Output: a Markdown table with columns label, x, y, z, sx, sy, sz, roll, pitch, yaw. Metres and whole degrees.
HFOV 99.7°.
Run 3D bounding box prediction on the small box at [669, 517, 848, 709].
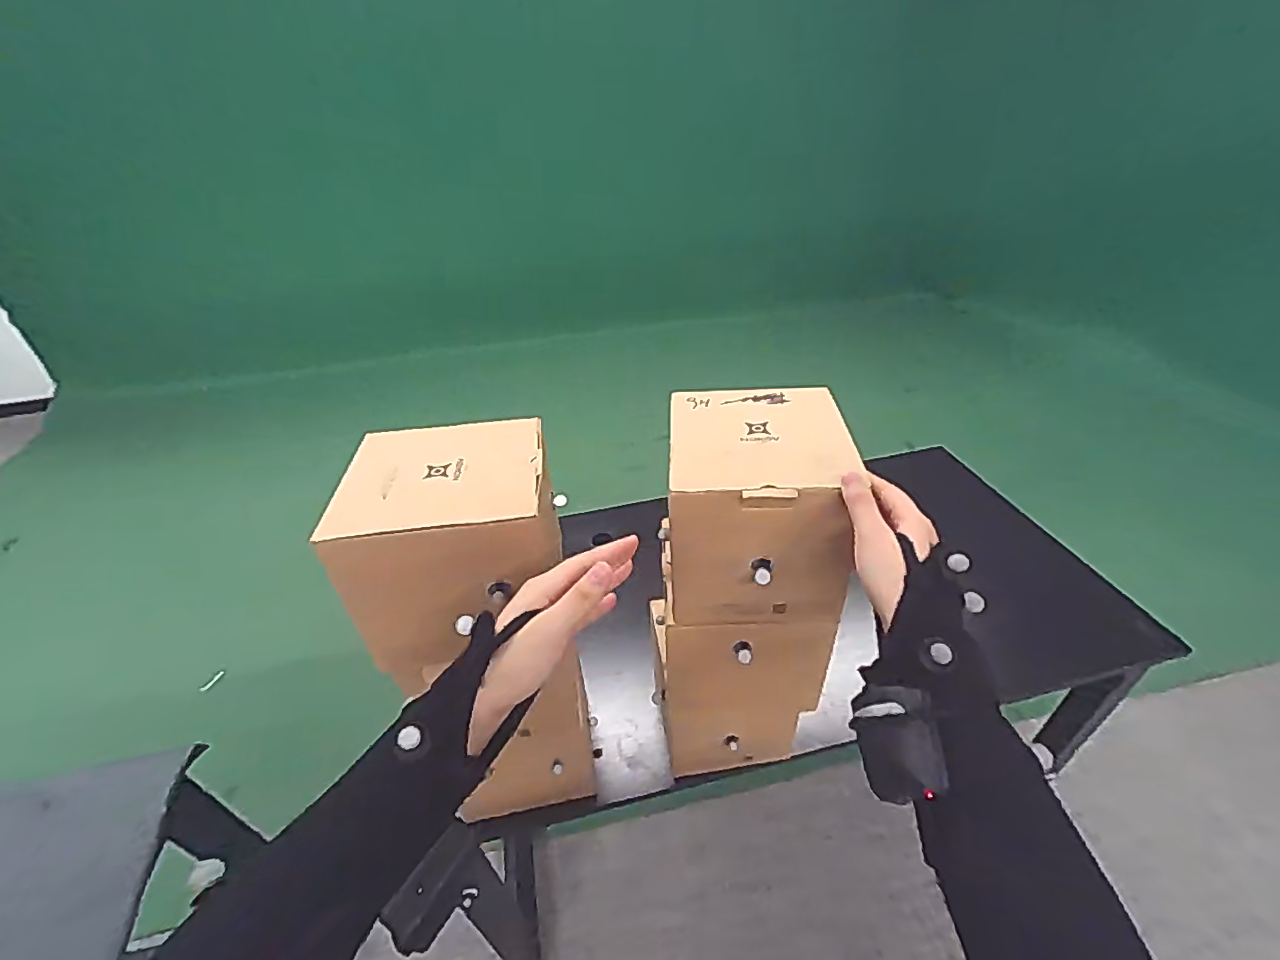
| label | x | y | z | sx | sy | sz | roll | pitch | yaw |
| --- | --- | --- | --- | --- | --- | --- | --- | --- | --- |
| small box | 0.124 | 0.155 | 0.645 | 0.179 | 0.176 | 0.168 | -2 | 37 | 2 |

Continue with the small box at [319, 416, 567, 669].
| label | x | y | z | sx | sy | sz | roll | pitch | yaw |
| --- | --- | --- | --- | --- | --- | --- | --- | --- | --- |
| small box | -0.165 | 0.058 | 0.527 | 0.179 | 0.176 | 0.168 | -7 | 35 | -5 |

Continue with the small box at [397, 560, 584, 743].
| label | x | y | z | sx | sy | sz | roll | pitch | yaw |
| --- | --- | --- | --- | --- | --- | --- | --- | --- | --- |
| small box | -0.158 | 0.183 | 0.631 | 0.168 | 0.176 | 0.179 | -7 | 36 | -6 |

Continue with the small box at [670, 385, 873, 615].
| label | x | y | z | sx | sy | sz | roll | pitch | yaw |
| --- | --- | --- | --- | --- | --- | --- | --- | --- | --- |
| small box | 0.119 | 0.020 | 0.551 | 0.168 | 0.176 | 0.179 | -1 | 37 | 6 |

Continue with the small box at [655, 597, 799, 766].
| label | x | y | z | sx | sy | sz | roll | pitch | yaw |
| --- | --- | --- | --- | --- | --- | --- | --- | --- | --- |
| small box | 0.117 | 0.275 | 0.756 | 0.168 | 0.176 | 0.179 | -7 | 37 | -5 |
